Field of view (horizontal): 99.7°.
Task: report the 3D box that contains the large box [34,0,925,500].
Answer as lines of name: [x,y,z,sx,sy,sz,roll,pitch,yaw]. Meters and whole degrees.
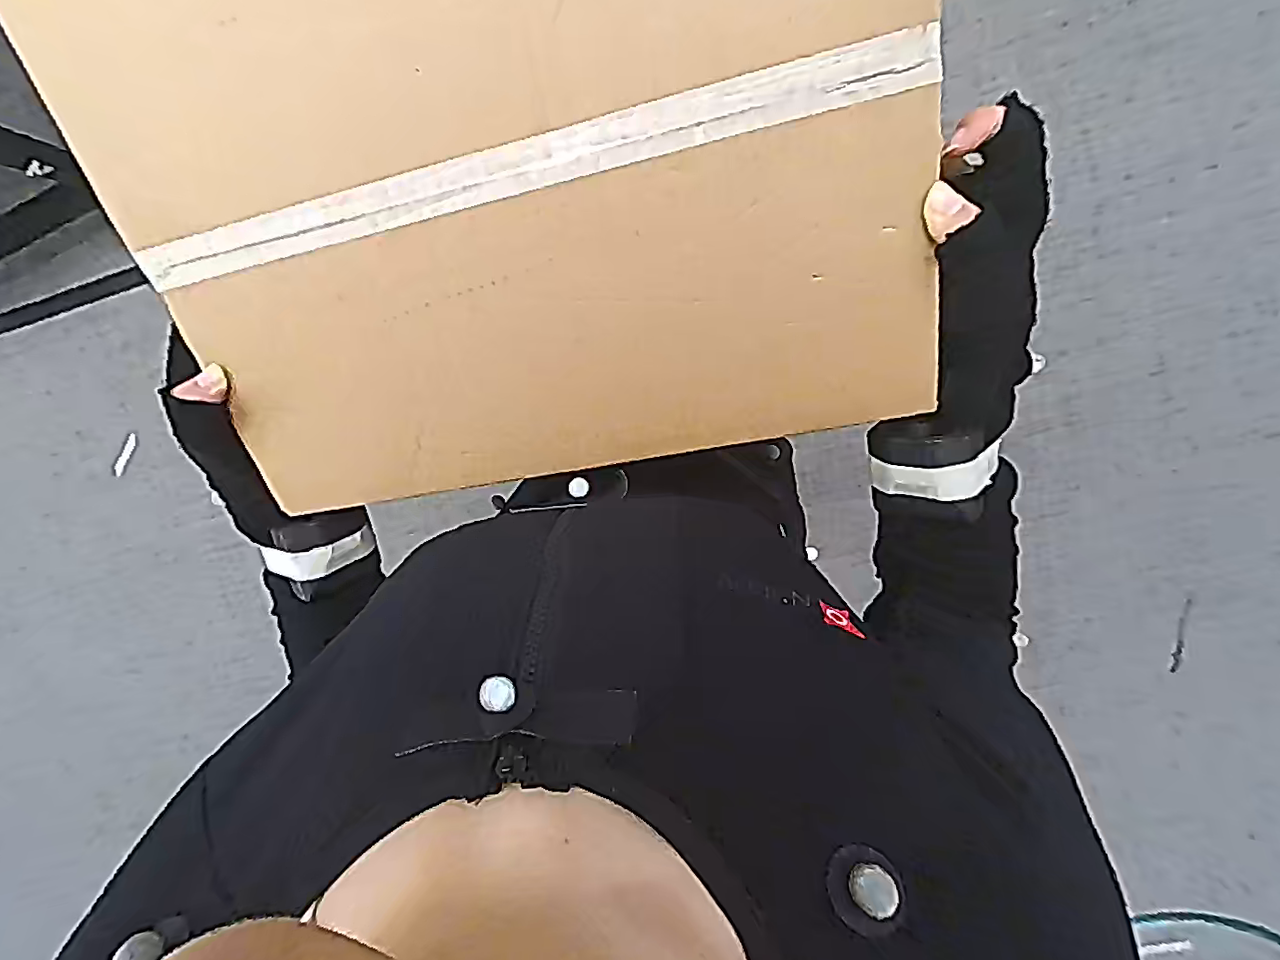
large box: [-0.058,-0.216,0.404,0.408,0.320,0.320,-9,115,10]
